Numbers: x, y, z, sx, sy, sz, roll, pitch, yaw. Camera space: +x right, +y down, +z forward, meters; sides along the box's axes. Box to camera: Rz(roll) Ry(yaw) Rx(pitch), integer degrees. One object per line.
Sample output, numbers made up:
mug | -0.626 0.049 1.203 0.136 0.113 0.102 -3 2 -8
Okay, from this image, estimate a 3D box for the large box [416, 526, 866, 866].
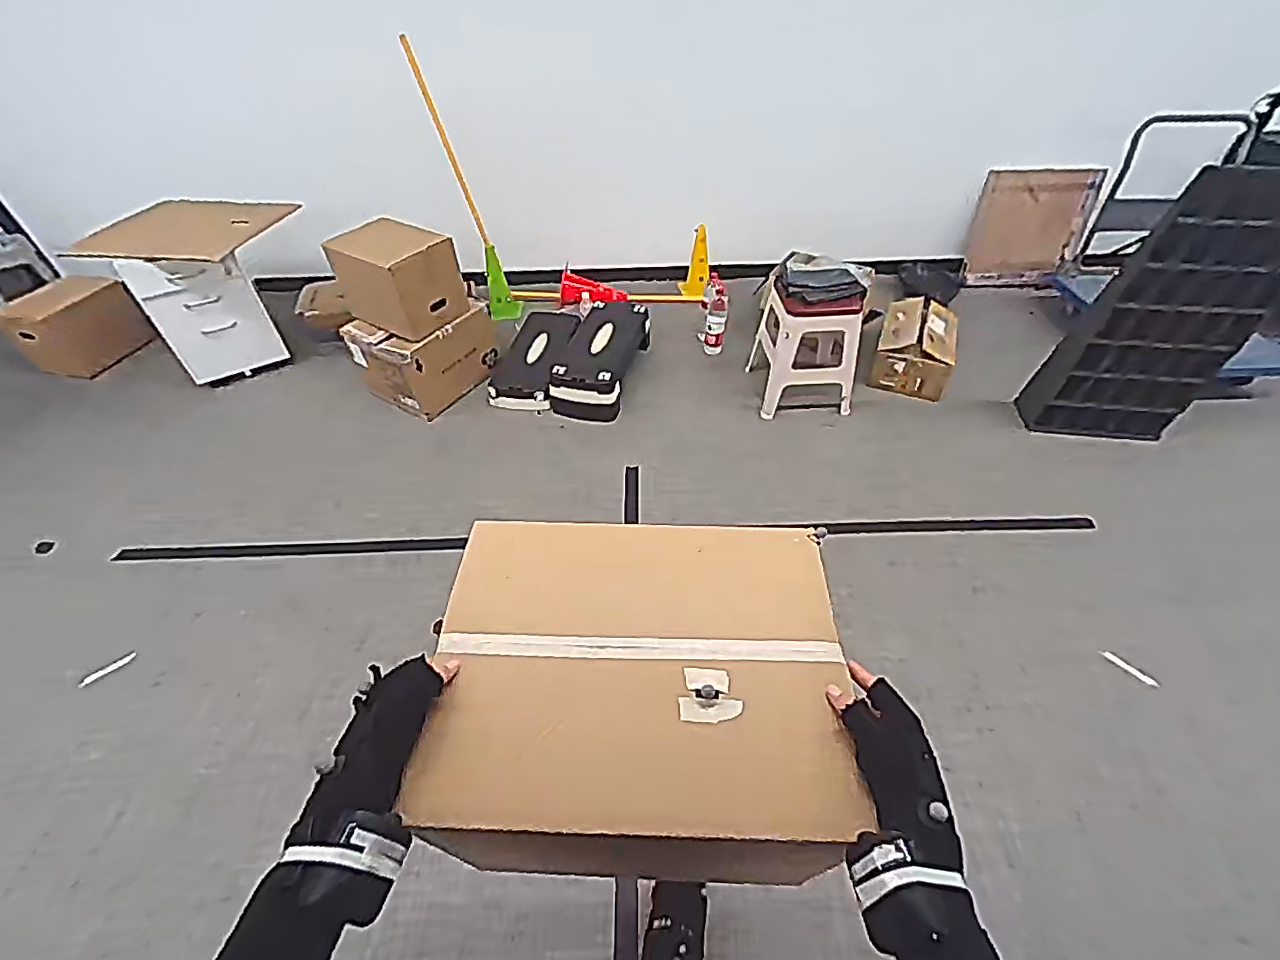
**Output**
large box | 0.001 0.274 0.677 0.408 0.320 0.320 2 49 1
